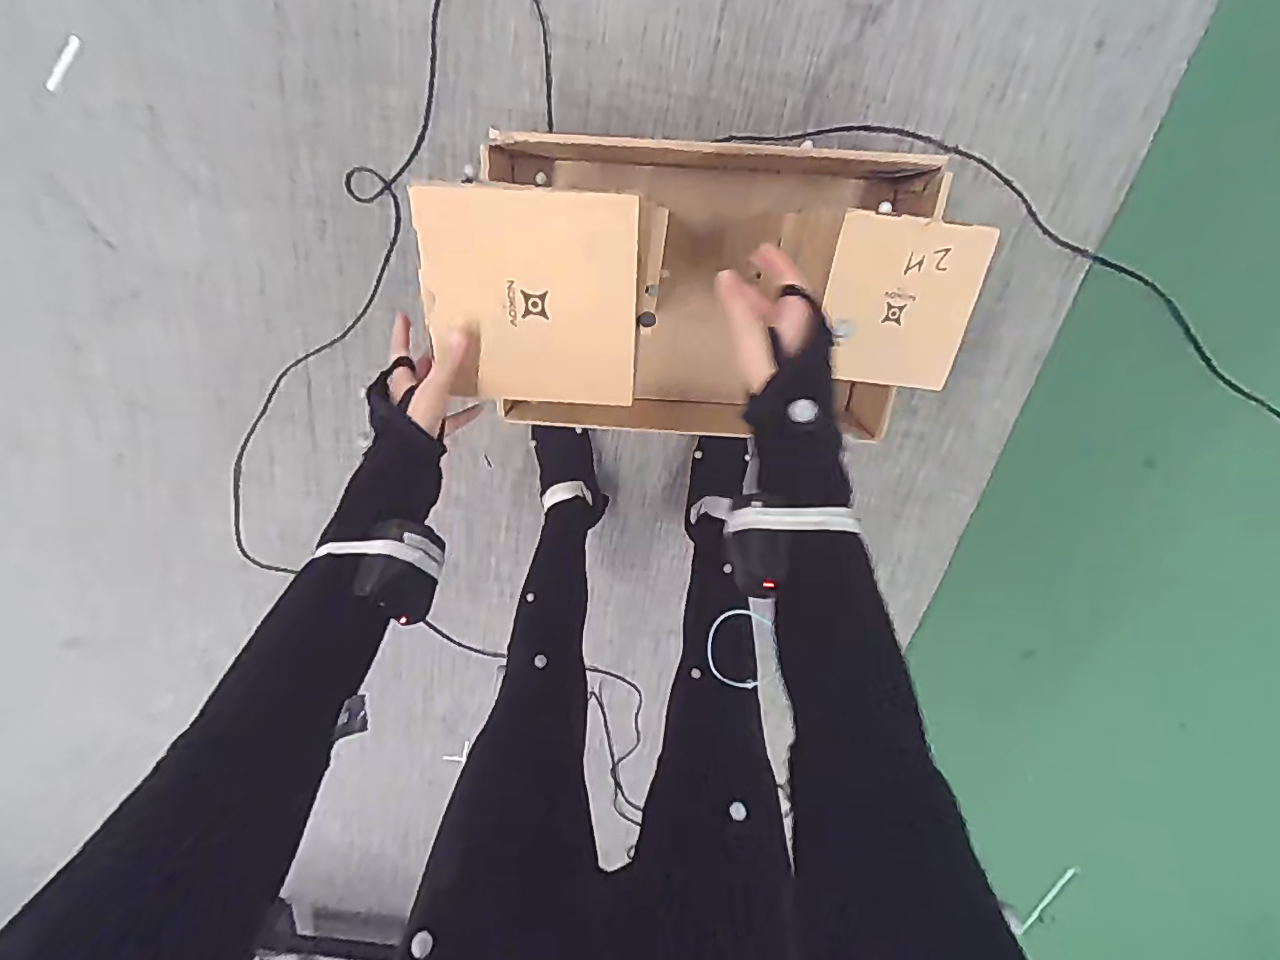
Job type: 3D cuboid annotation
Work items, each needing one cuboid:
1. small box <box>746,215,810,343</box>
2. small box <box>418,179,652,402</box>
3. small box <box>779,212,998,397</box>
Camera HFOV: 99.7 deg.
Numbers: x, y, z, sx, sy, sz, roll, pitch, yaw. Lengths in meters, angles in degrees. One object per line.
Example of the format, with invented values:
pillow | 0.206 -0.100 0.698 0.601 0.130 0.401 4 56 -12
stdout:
small box | 0.267 -0.291 0.809 0.179 0.176 0.168 8 115 -2
small box | -0.080 -0.182 0.506 0.179 0.176 0.168 4 117 1
small box | 0.280 -0.218 0.661 0.168 0.176 0.179 7 114 -3
